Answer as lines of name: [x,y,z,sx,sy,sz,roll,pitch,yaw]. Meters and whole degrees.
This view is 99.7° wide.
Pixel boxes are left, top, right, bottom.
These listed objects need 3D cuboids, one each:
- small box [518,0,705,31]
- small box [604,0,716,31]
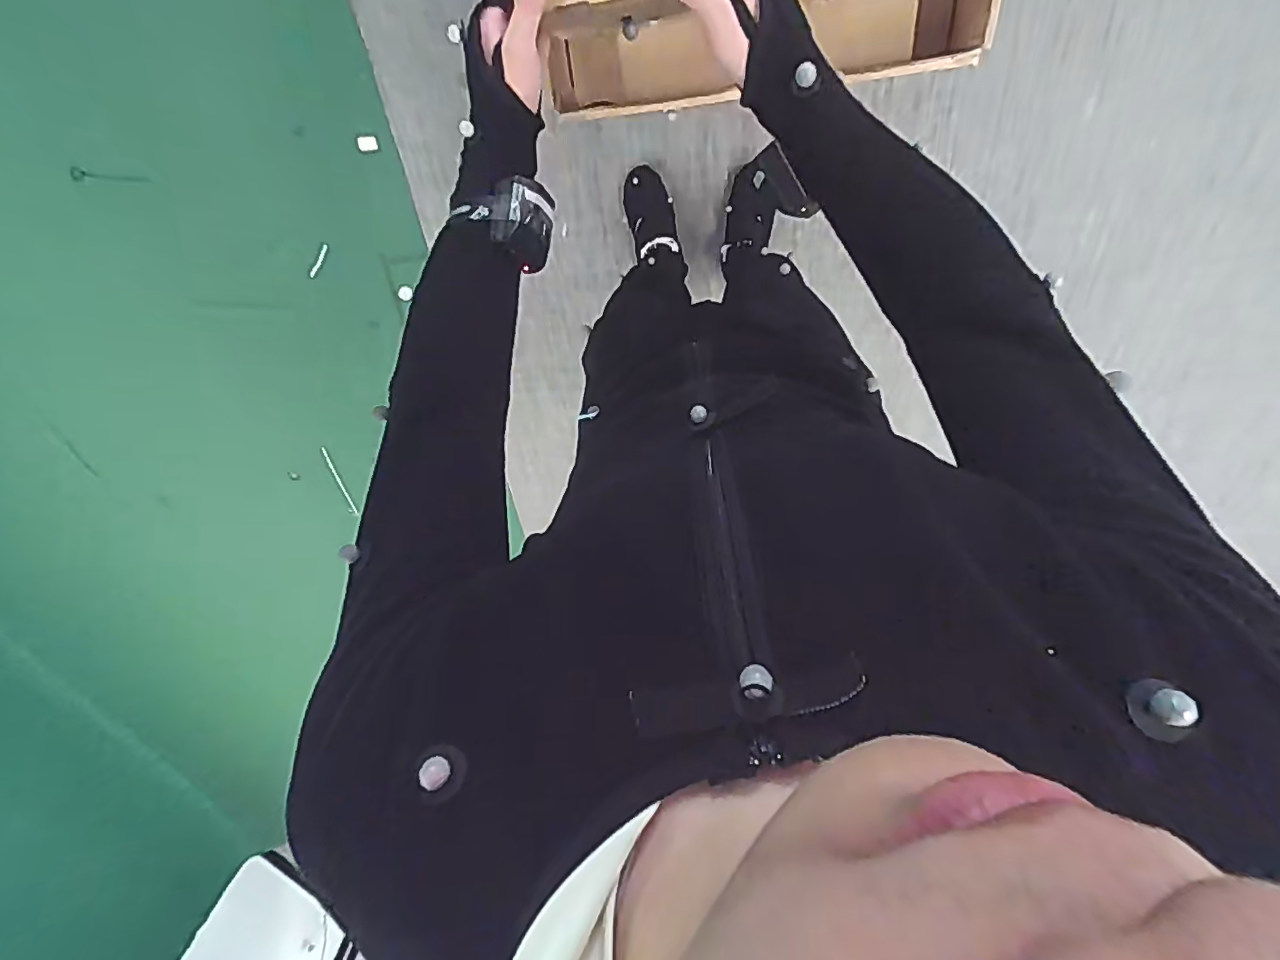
small box: [-0.025,-0.502,0.443,0.168,0.176,0.179,-4,124,10]
small box: [0.014,-0.732,0.731,0.179,0.176,0.168,-3,125,8]
